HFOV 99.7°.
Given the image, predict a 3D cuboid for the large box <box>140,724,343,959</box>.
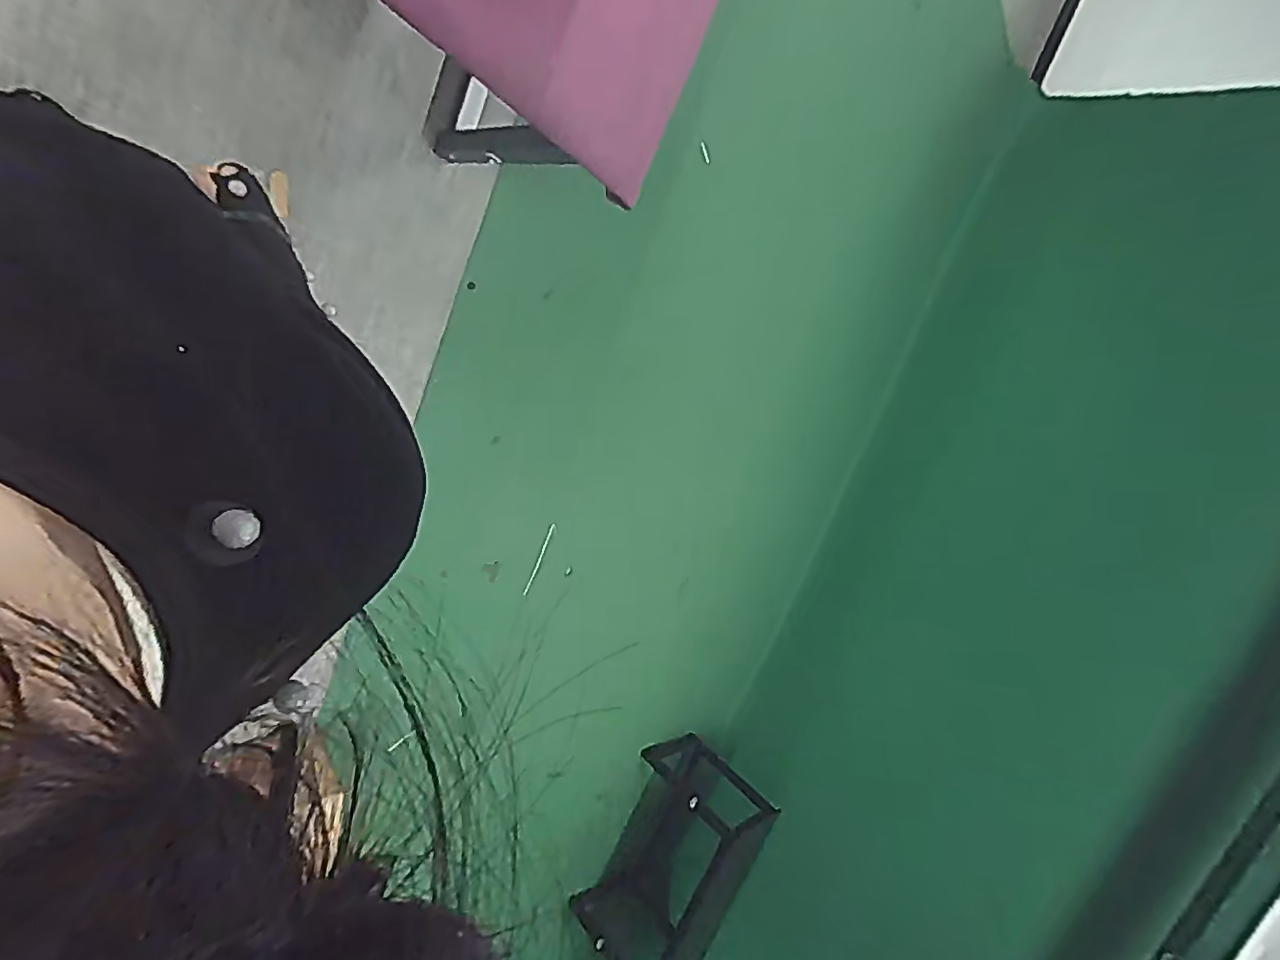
[{"bbox_3d":[-1.109,0.978,1.523,0.408,0.320,0.320,-8,119,-45],"label":"large box"}]
